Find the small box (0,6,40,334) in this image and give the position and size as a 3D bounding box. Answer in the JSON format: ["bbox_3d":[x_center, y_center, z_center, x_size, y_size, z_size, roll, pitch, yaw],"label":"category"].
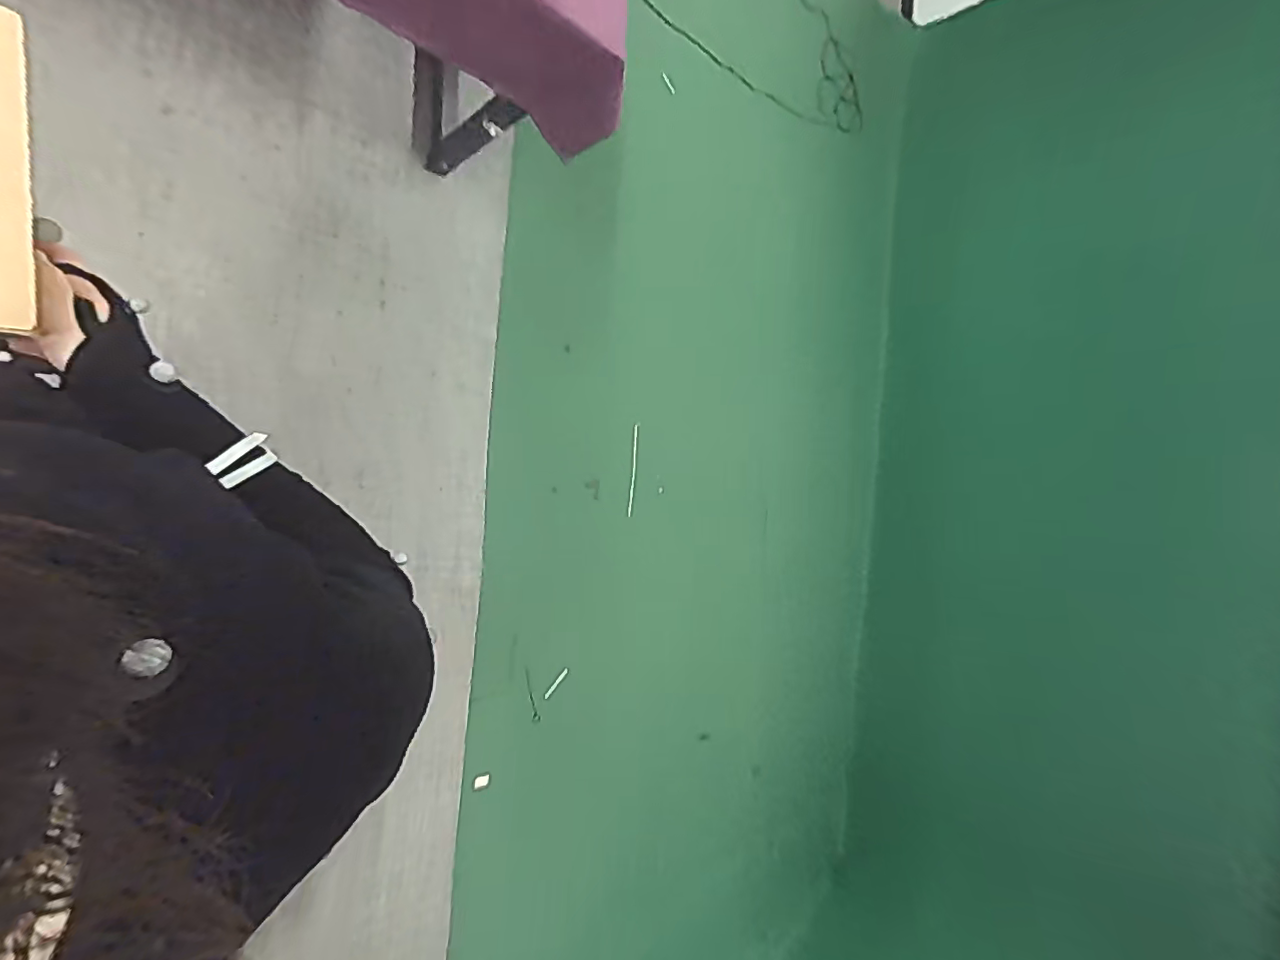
[{"bbox_3d":[-0.463,-0.183,0.302,0.168,0.176,0.179,-4,103,-48],"label":"small box"}]
